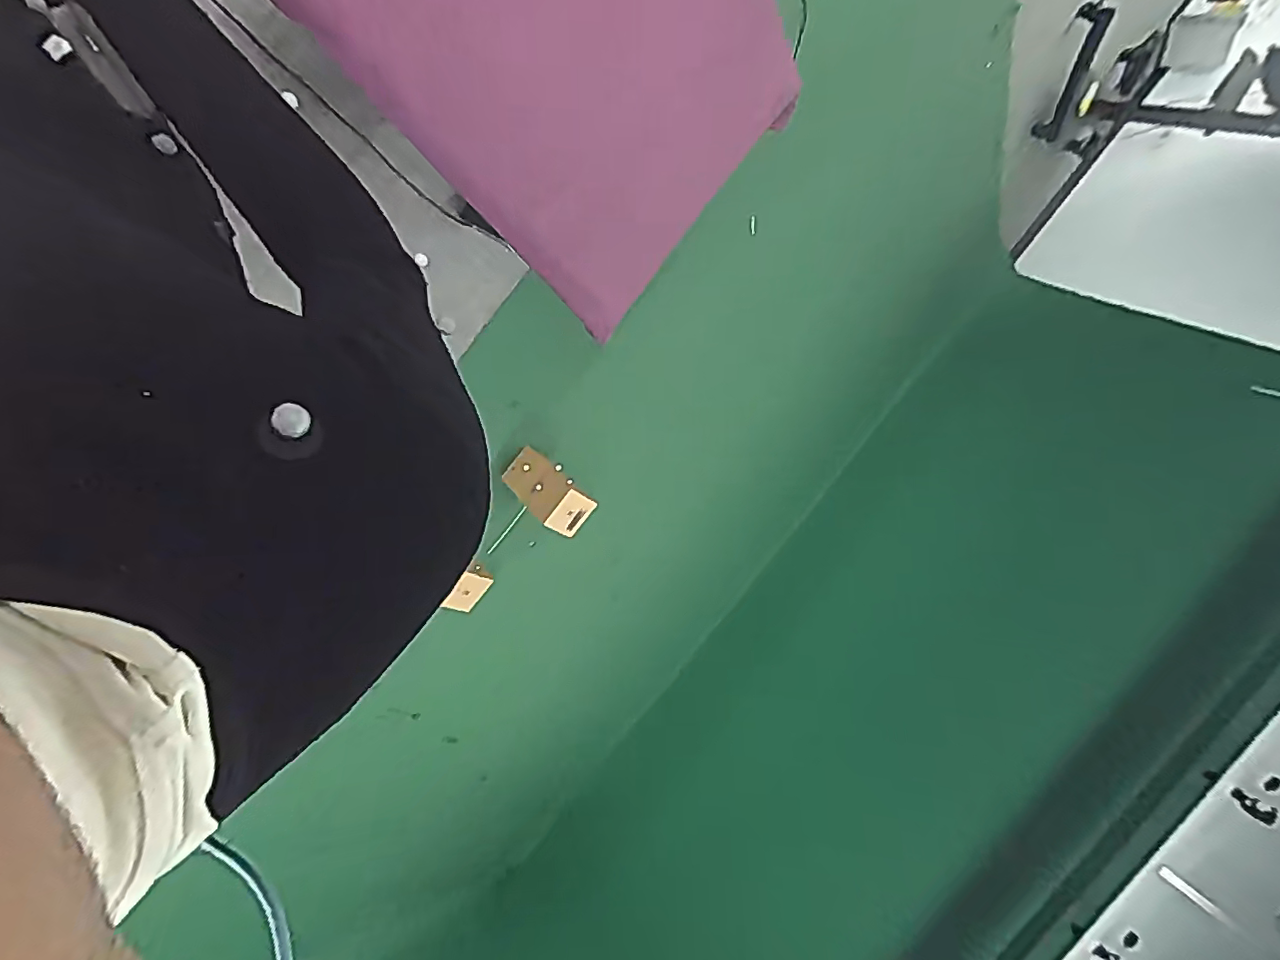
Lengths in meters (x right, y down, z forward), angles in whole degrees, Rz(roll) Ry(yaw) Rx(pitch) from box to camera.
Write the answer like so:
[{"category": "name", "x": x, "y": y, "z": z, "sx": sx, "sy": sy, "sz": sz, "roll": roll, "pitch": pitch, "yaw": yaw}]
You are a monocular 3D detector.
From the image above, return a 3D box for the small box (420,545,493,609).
[{"category": "small box", "x": -0.726, "y": 0.382, "z": 2.134, "sx": 0.168, "sy": 0.176, "sz": 0.179, "roll": -51, "pitch": 144, "yaw": 1}]

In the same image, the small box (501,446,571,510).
[{"category": "small box", "x": -0.414, "y": -0.012, "z": 2.129, "sx": 0.168, "sy": 0.176, "sz": 0.179, "roll": -52, "pitch": 145, "yaw": 1}]
